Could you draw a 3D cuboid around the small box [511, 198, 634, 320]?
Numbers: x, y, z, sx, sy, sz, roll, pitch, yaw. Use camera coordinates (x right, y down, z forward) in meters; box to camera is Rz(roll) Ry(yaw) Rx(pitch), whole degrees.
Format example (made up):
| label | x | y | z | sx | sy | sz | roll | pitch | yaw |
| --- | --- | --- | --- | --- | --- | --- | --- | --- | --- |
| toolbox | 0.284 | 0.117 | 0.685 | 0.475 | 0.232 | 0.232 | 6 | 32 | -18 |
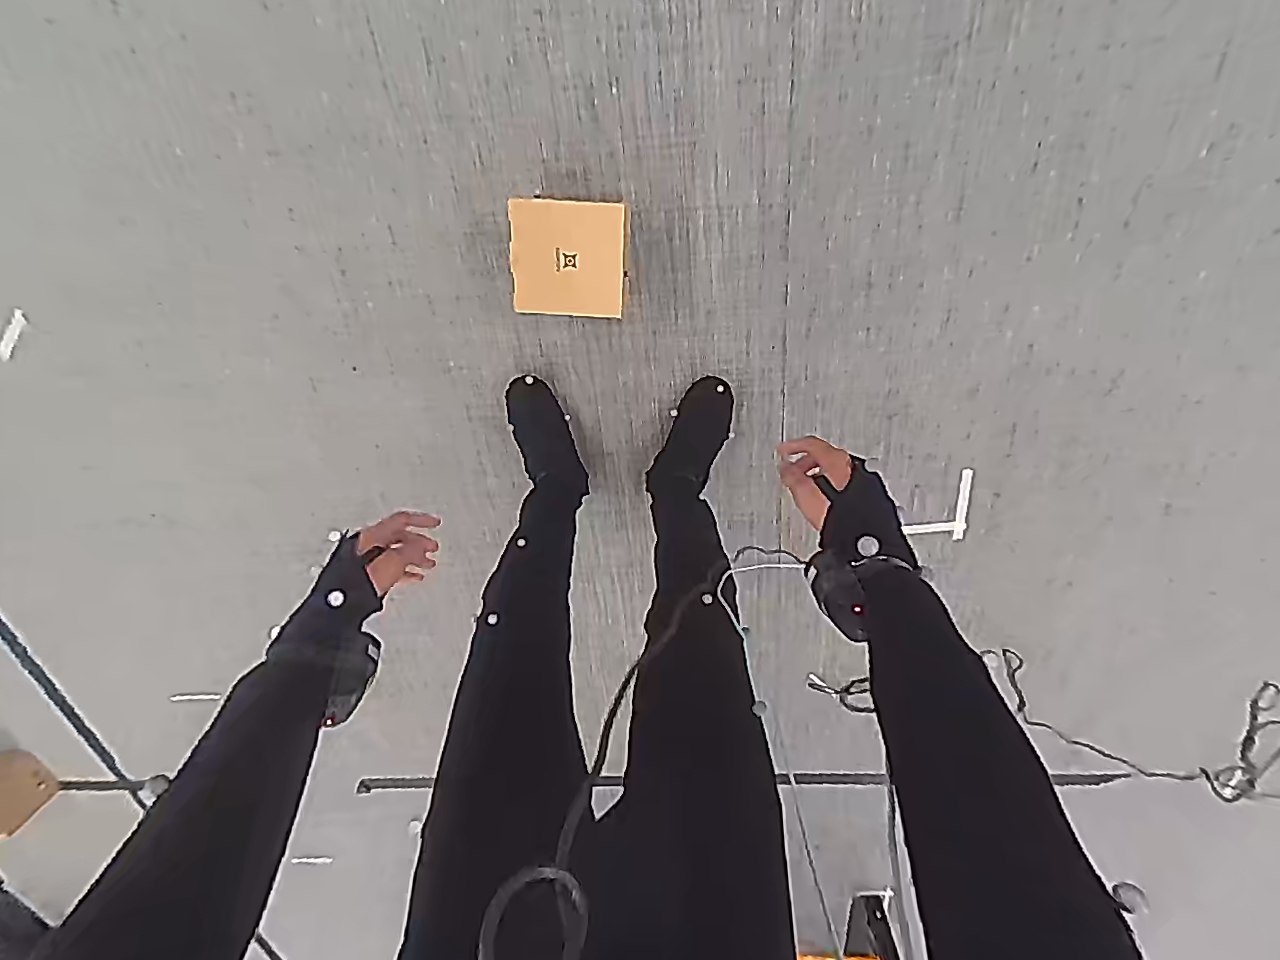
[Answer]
| label | x | y | z | sx | sy | sz | roll | pitch | yaw |
| --- | --- | --- | --- | --- | --- | --- | --- | --- | --- |
| small box | -0.103 | -0.370 | 0.896 | 0.179 | 0.176 | 0.168 | 4 | 118 | 2 |
